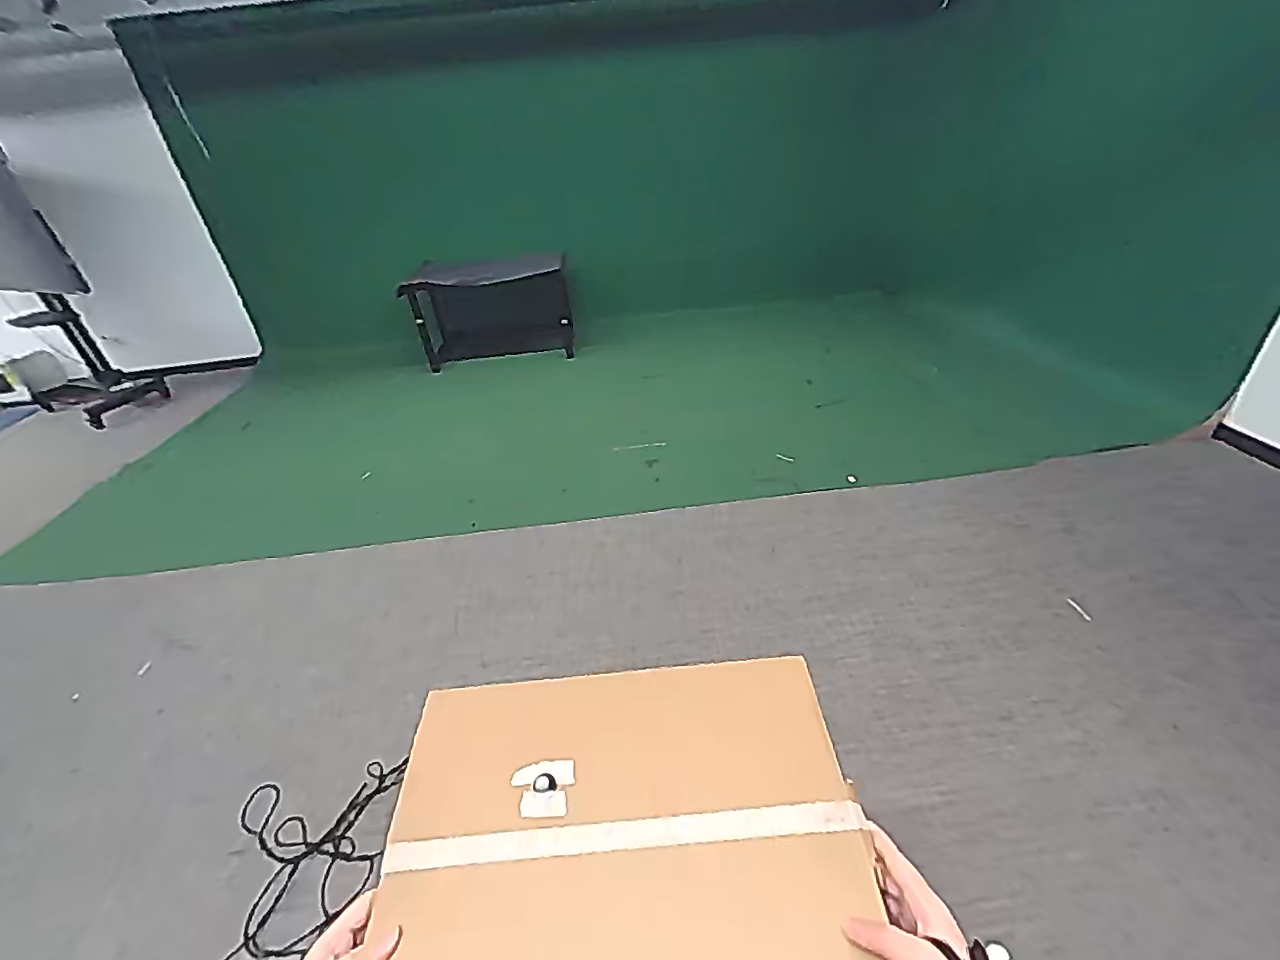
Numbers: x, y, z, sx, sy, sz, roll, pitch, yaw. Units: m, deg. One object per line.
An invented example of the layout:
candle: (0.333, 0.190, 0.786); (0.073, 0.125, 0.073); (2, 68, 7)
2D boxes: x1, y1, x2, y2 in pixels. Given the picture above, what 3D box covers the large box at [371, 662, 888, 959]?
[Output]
large box: (0.000, 0.430, 0.565); (0.408, 0.320, 0.320); (-7, 40, 3)
